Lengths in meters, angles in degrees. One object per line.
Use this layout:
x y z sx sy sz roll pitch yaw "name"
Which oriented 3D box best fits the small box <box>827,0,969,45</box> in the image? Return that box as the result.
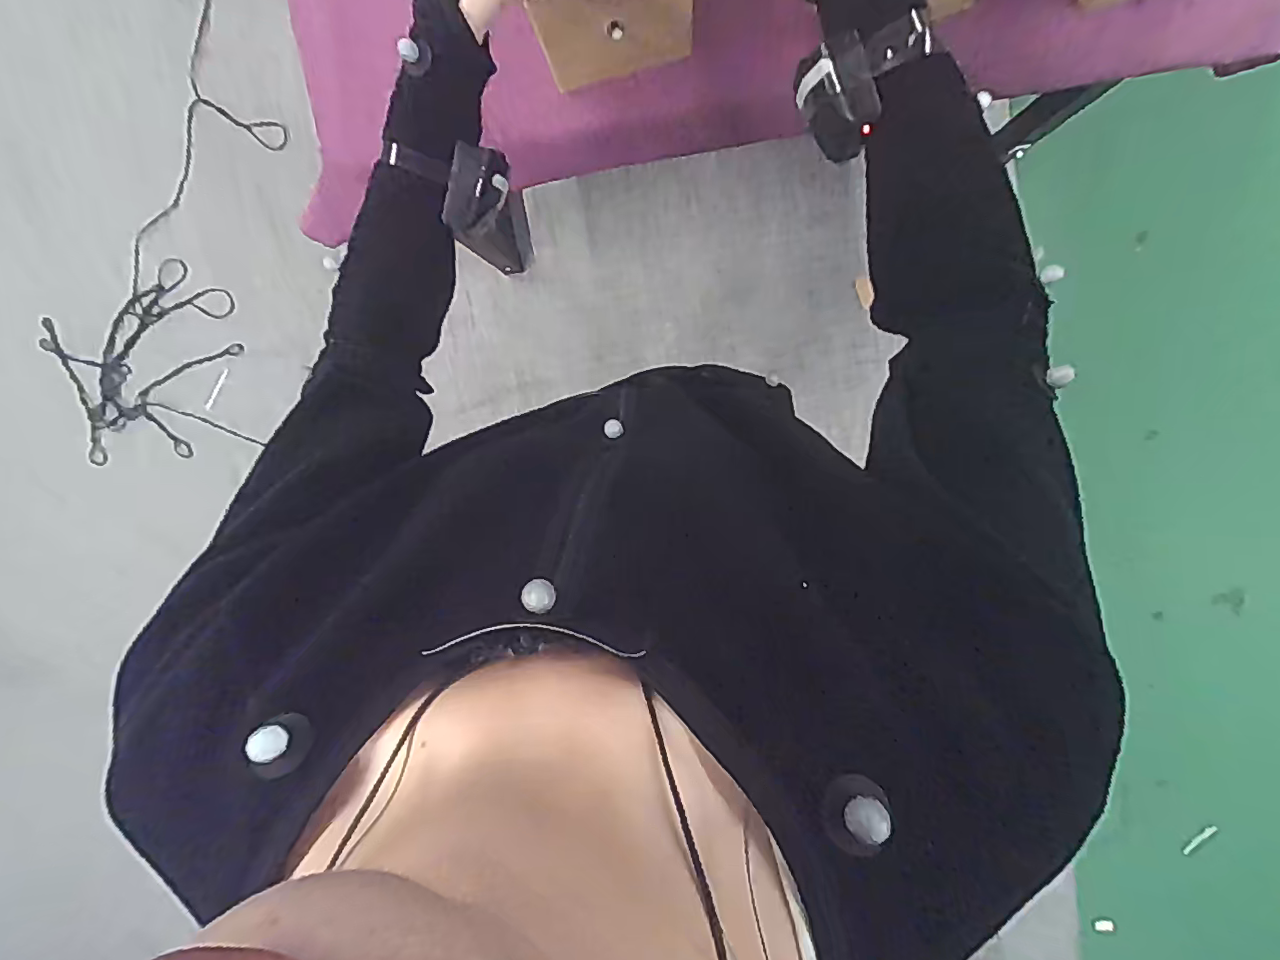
0.291 -0.622 0.568 0.168 0.176 0.179 -15 97 7 "small box"
